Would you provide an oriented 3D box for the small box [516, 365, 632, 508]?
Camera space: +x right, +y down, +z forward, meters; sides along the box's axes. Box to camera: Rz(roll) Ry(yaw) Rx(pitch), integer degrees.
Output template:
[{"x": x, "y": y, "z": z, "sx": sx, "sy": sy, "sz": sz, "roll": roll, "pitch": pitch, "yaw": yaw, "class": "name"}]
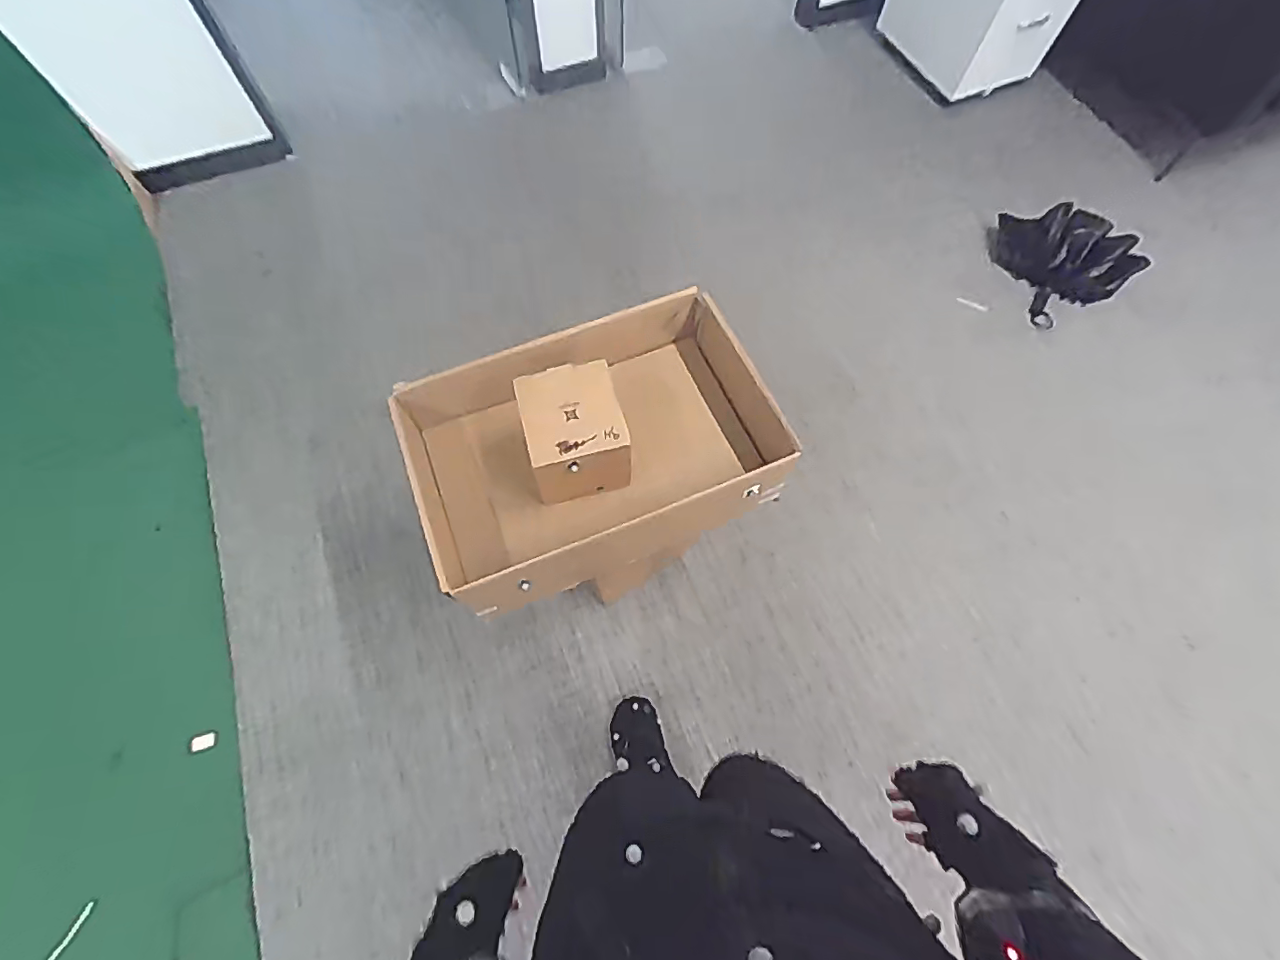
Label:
[{"x": -0.114, "y": -0.073, "z": 0.971, "sx": 0.168, "sy": 0.176, "sz": 0.179, "roll": -14, "pitch": 66, "yaw": -6, "class": "small box"}]
